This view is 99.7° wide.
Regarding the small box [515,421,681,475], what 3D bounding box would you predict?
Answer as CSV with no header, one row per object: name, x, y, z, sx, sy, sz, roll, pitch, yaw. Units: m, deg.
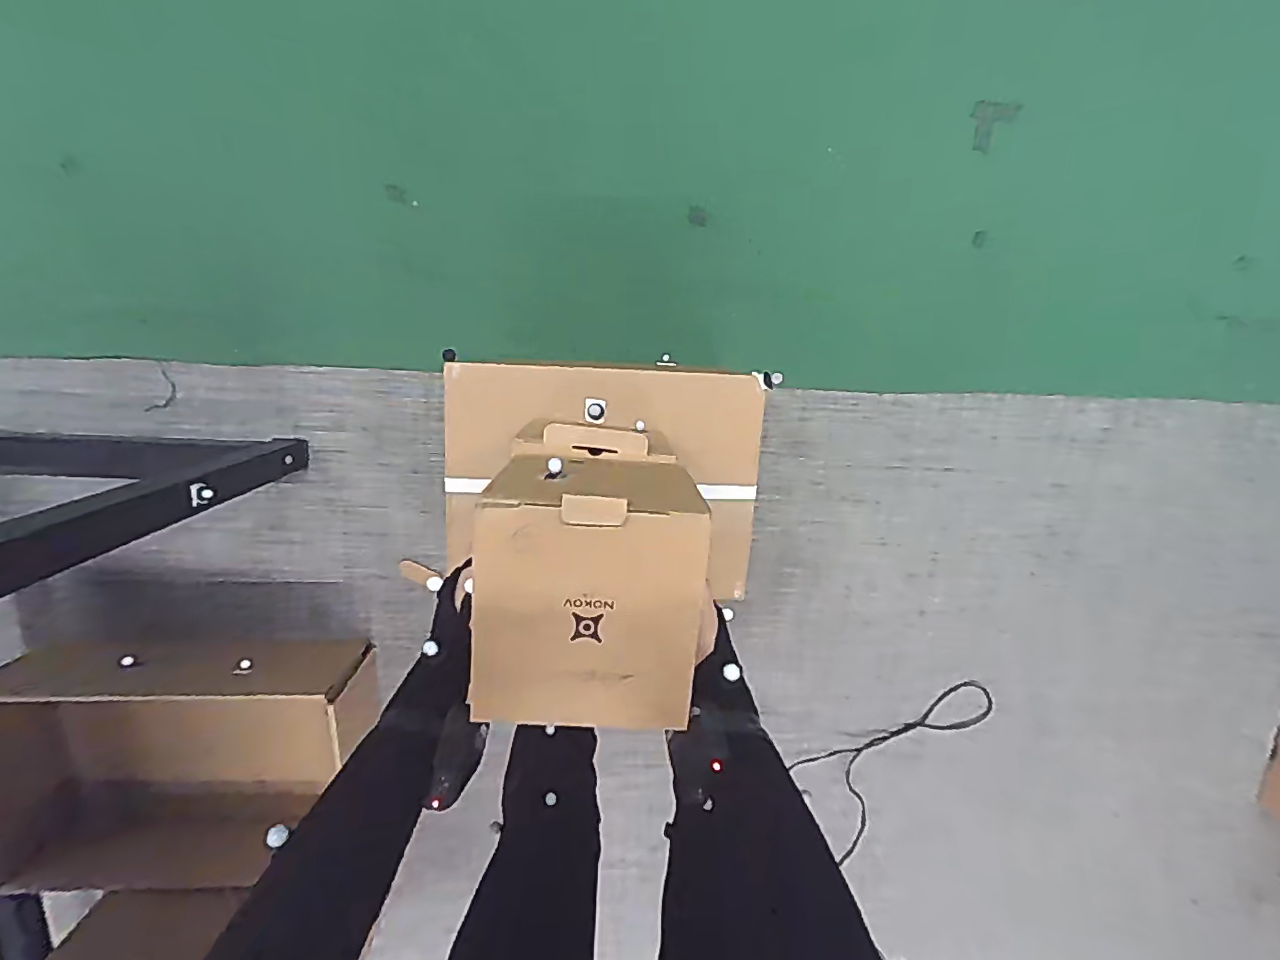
small box,-0.056,0.033,0.623,0.168,0.176,0.179,7,104,-5

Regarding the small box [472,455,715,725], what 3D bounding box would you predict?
small box,-0.041,0.080,0.467,0.168,0.176,0.179,4,103,-4
